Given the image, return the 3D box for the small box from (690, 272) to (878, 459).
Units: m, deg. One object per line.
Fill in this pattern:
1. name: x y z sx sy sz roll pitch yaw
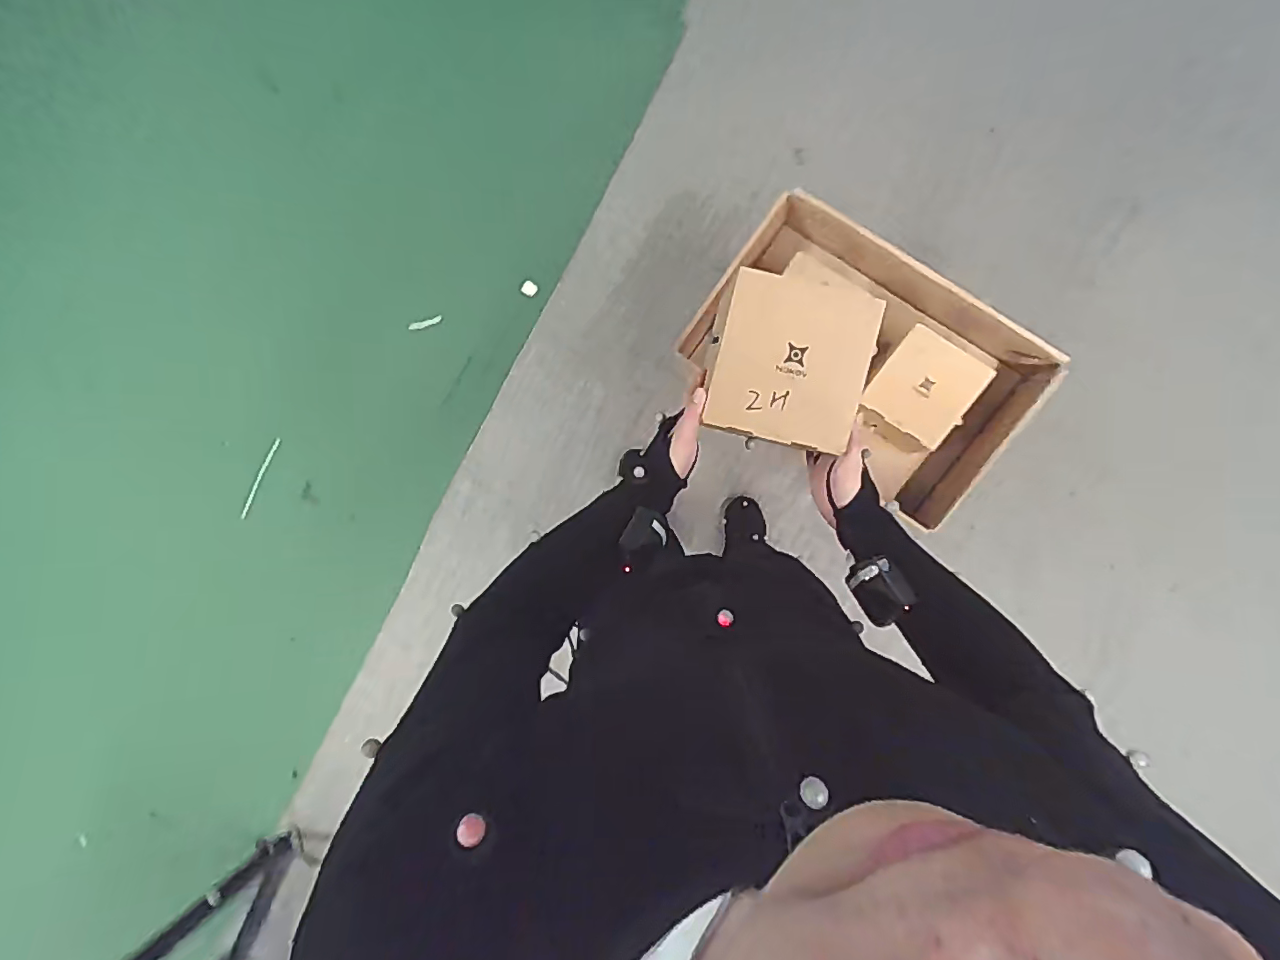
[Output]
1. small box: 0.164 -0.134 0.678 0.168 0.176 0.179 13 97 -1

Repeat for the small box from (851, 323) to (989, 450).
1. small box: 0.529 -0.176 1.067 0.168 0.176 0.179 37 99 6
